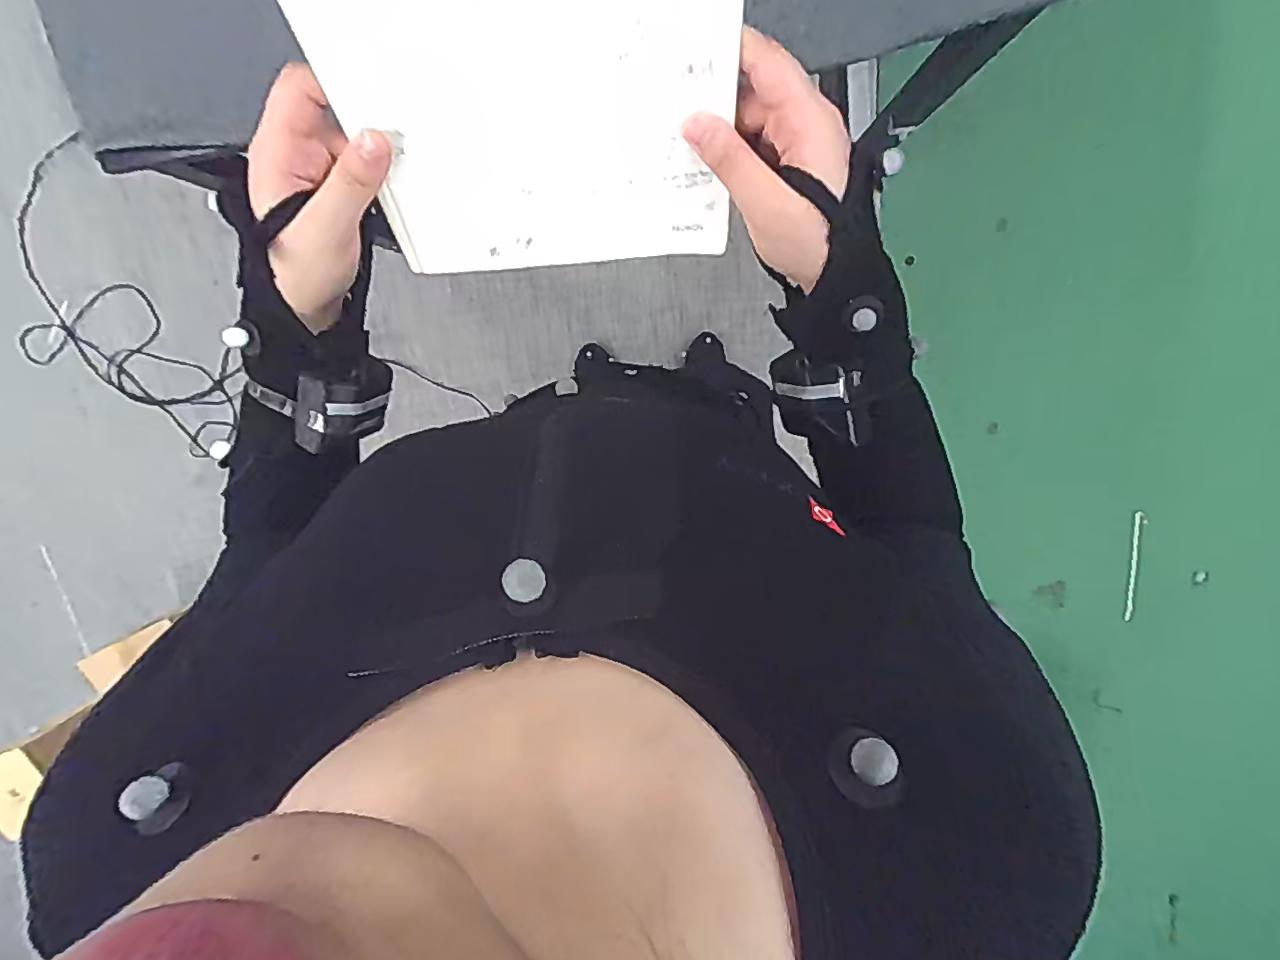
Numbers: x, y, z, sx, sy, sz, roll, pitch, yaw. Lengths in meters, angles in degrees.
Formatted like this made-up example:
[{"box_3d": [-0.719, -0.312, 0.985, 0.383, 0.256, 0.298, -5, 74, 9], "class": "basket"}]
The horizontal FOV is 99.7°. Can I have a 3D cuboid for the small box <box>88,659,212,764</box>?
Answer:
[{"box_3d": [-1.216, 0.577, 1.326, 0.168, 0.176, 0.179, -24, 101, 8], "class": "small box"}]

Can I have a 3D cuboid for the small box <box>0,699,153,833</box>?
[{"box_3d": [-1.230, 0.603, 1.165, 0.168, 0.176, 0.179, -24, 102, 7], "class": "small box"}]
